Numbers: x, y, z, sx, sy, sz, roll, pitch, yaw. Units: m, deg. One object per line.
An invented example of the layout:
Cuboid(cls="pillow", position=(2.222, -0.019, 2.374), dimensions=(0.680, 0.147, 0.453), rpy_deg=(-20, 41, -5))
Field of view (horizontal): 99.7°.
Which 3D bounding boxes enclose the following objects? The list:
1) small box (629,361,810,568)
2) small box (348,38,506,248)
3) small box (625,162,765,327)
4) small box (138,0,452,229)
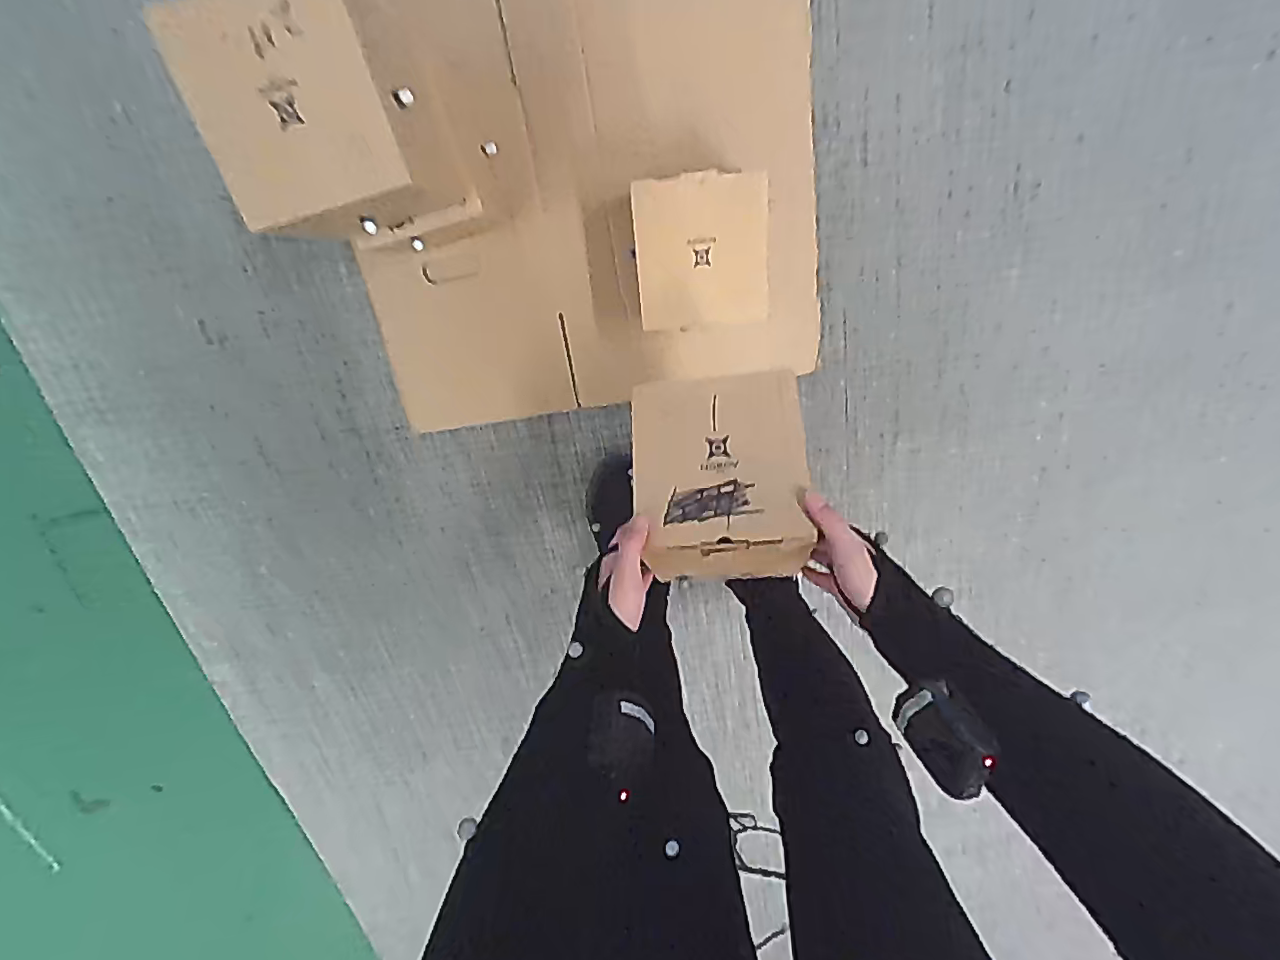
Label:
Cuboid(cls="small box", position=(0.084, -0.003, 0.585), dimensions=(0.168, 0.176, 0.179), rpy_deg=(-4, 69, 9))
Cuboid(cls="small box", position=(-0.291, -0.412, 0.695), dimensions=(0.168, 0.176, 0.179), rpy_deg=(-14, 111, 5))
Cuboid(cls="small box", position=(0.072, -0.313, 0.735), dimensions=(0.168, 0.176, 0.179), rpy_deg=(-5, 111, 2))
Cuboid(cls="small box", position=(-0.311, -0.360, 0.537), dimensions=(0.168, 0.176, 0.179), rpy_deg=(-14, 111, 4))
